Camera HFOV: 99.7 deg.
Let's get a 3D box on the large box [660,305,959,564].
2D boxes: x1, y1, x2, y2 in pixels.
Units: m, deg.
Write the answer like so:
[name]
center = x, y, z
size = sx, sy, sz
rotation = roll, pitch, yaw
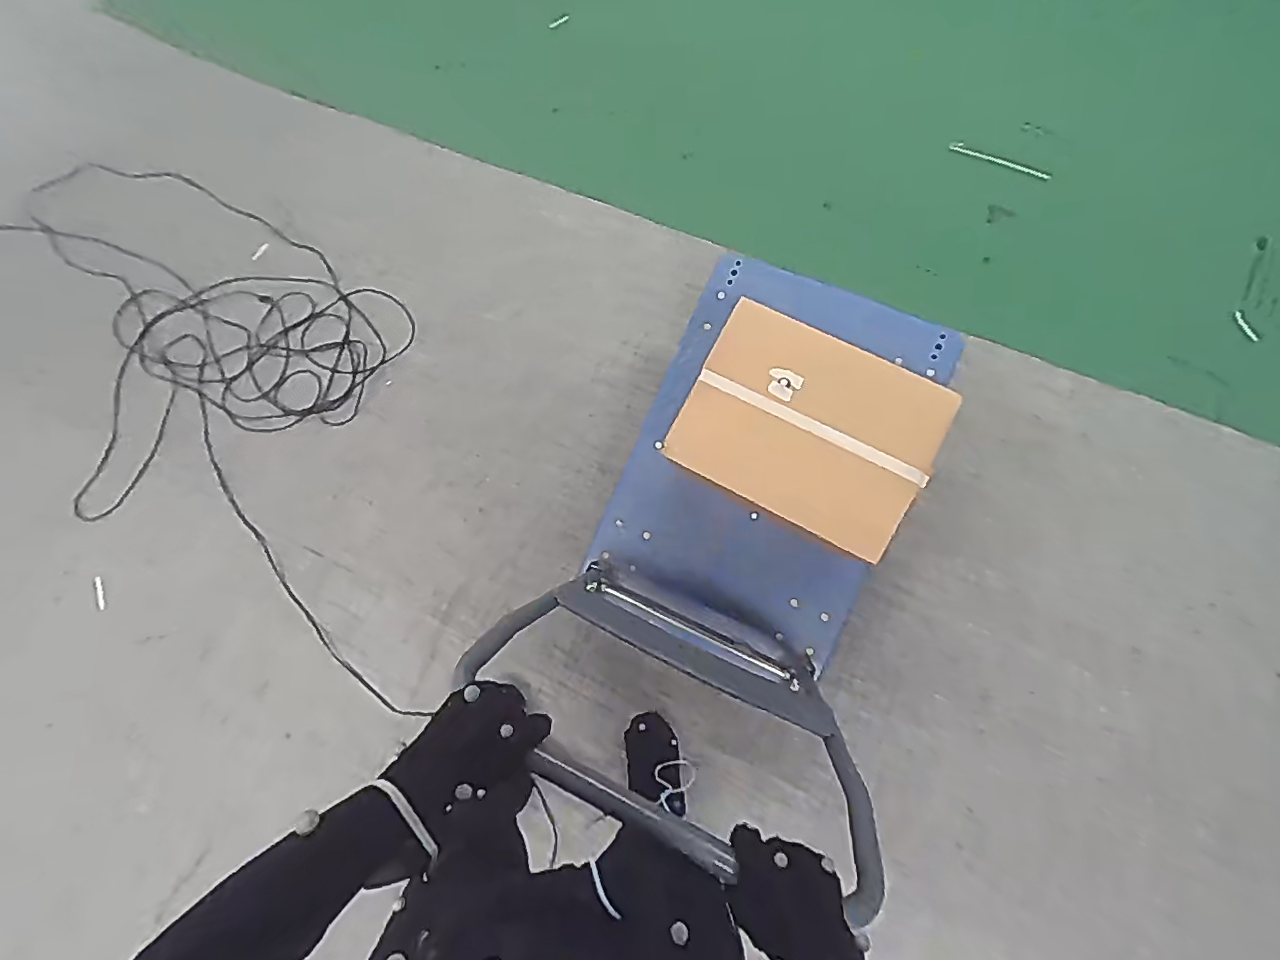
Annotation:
[large box]
center = 0.303, -0.073, 1.054
size = 0.408, 0.320, 0.320
rotation = 29, 90, 11
